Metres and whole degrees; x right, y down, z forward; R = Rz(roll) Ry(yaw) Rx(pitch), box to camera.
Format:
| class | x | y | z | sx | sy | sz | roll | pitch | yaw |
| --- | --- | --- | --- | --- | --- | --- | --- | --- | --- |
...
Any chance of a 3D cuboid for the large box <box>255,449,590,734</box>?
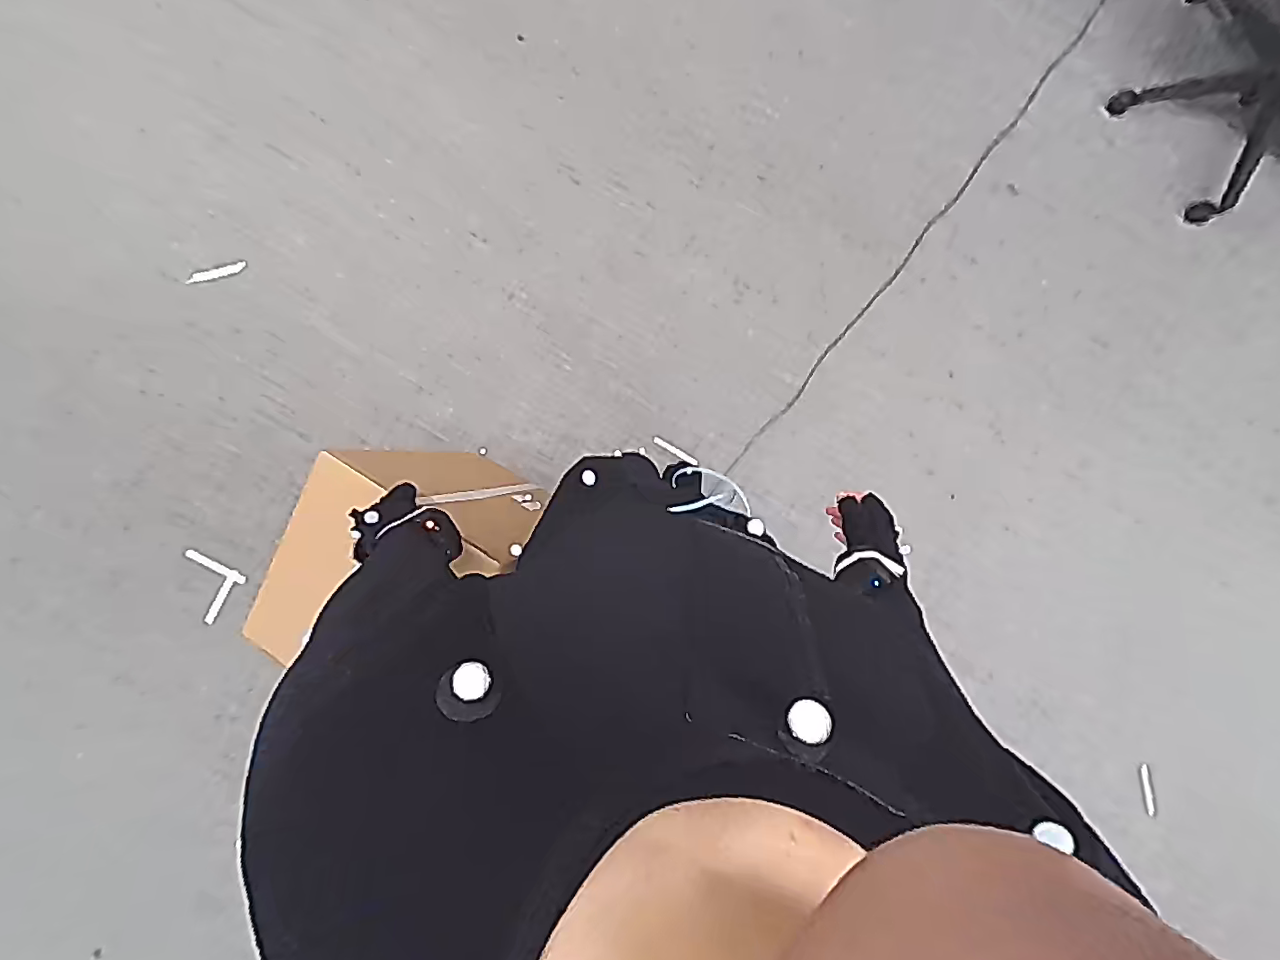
| class | x | y | z | sx | sy | sz | roll | pitch | yaw |
| --- | --- | --- | --- | --- | --- | --- | --- | --- | --- |
| large box | -0.341 | 0.152 | 0.951 | 0.320 | 0.408 | 0.320 | 31 | 98 | 10 |
